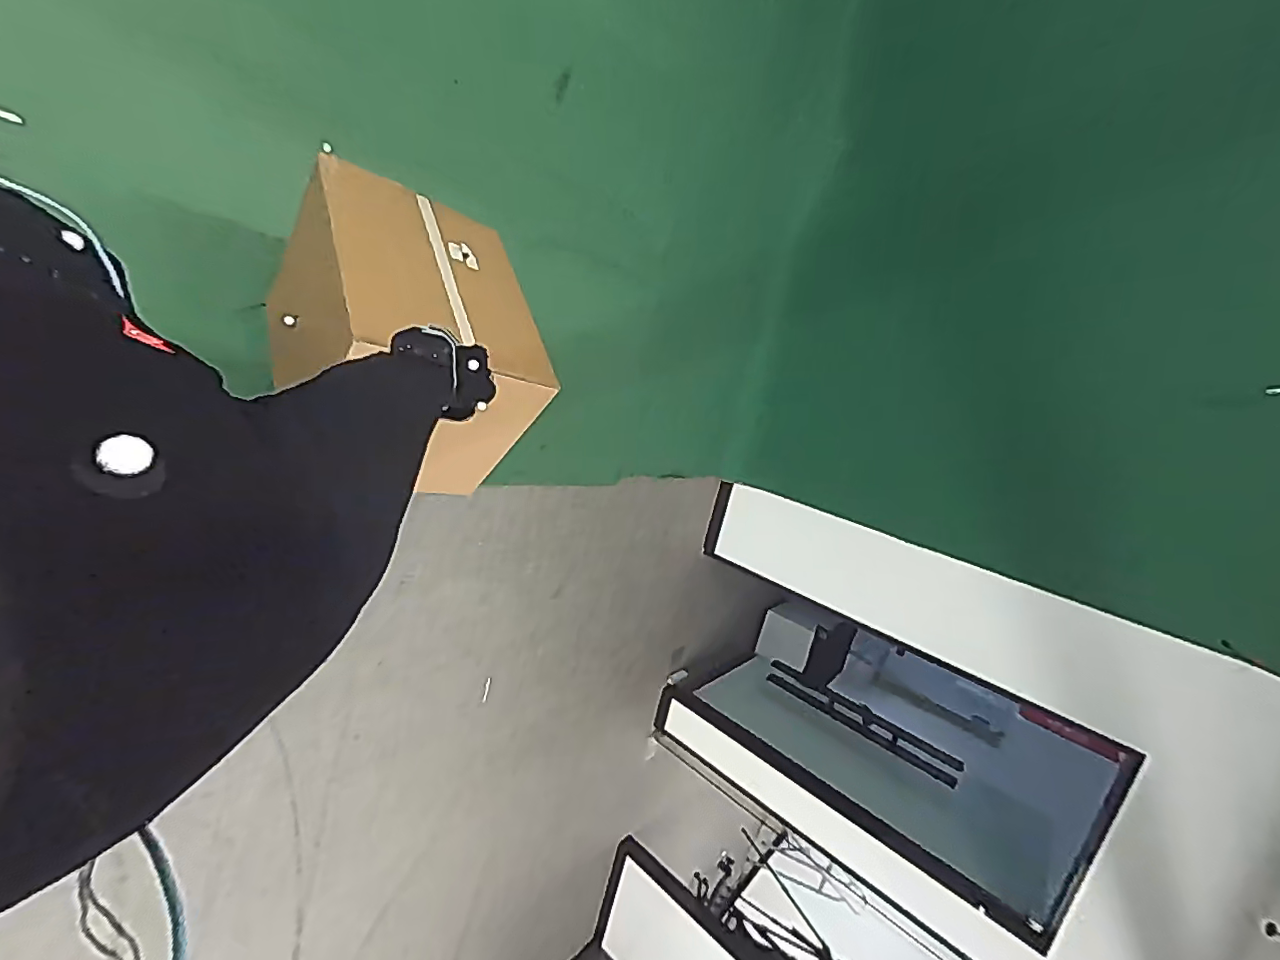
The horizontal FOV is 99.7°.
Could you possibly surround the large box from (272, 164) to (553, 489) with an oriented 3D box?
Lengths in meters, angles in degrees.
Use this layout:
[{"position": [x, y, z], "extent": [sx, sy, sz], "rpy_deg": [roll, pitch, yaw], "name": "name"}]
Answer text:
[{"position": [-0.409, -0.231, 0.934], "extent": [0.320, 0.408, 0.320], "rpy_deg": [6, 140, -46], "name": "large box"}]
